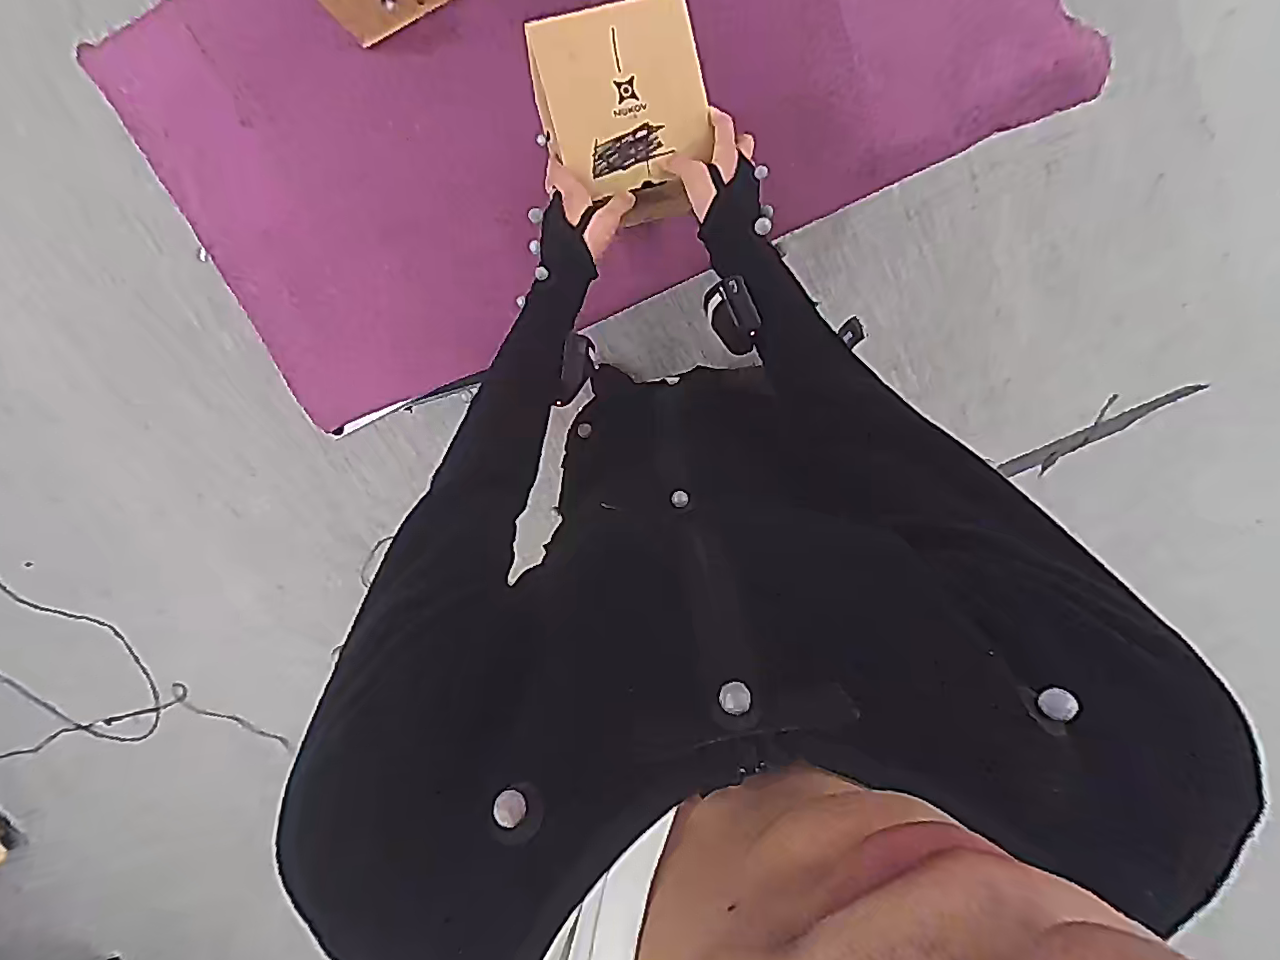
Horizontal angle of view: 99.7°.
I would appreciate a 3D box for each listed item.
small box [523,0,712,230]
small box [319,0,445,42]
[{"bbox_3d":[-0.027,-0.410,0.634,0.168,0.176,0.179,-15,104,-4],"label":"small box"},{"bbox_3d":[-0.351,-0.683,0.636,0.168,0.176,0.179,-24,103,7],"label":"small box"}]
